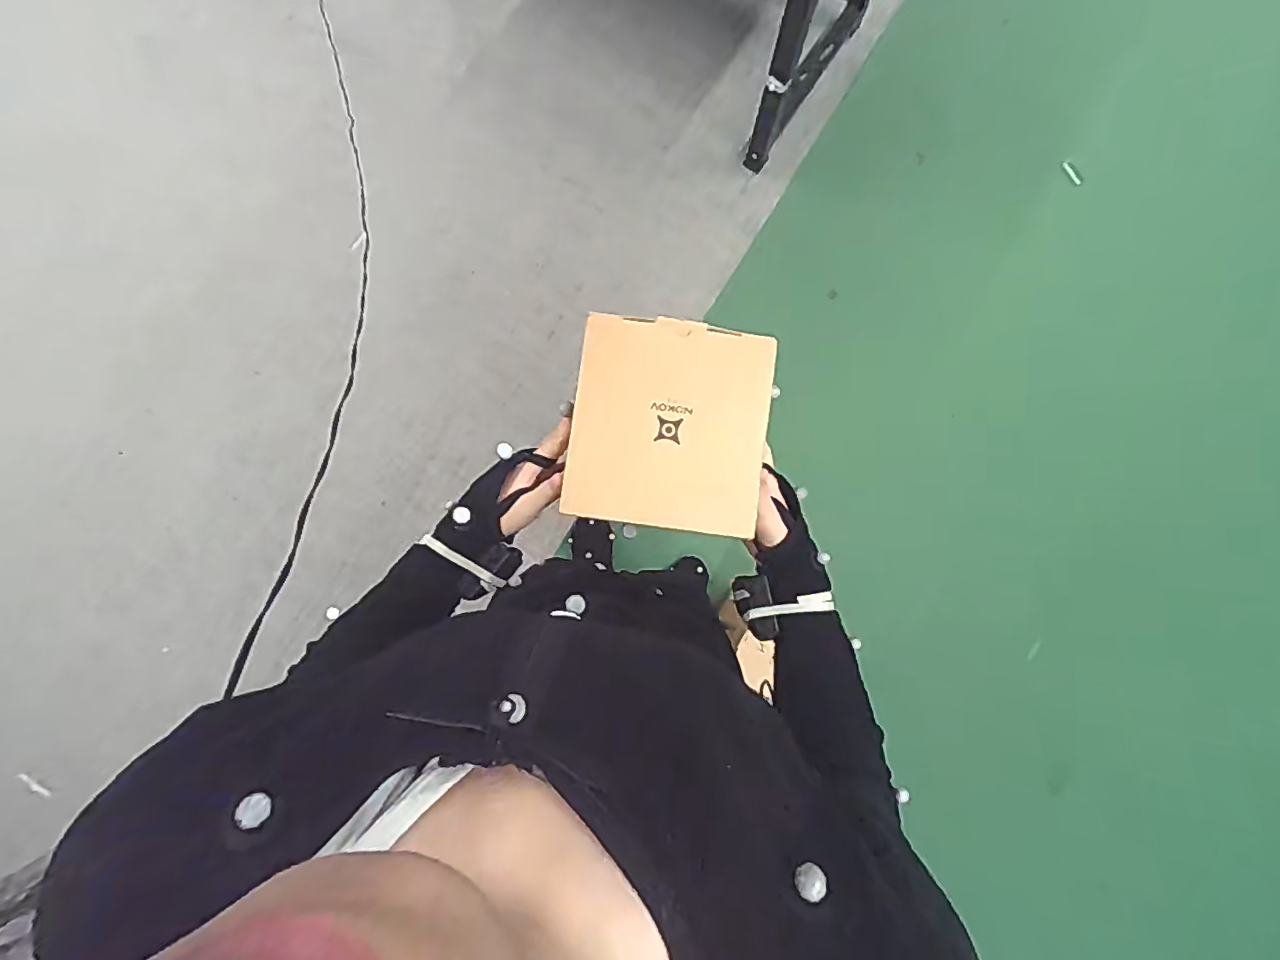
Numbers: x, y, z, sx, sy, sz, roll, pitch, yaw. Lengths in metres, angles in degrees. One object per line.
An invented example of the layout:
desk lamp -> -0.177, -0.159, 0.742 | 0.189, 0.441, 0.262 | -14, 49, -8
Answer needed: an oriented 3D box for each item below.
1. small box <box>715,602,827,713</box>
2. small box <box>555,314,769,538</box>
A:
small box -> 0.295, 0.398, 1.253 | 0.179, 0.176, 0.168 | 30, 85, 2
small box -> 0.018, -0.041, 0.538 | 0.168, 0.176, 0.179 | 7, 85, -1
